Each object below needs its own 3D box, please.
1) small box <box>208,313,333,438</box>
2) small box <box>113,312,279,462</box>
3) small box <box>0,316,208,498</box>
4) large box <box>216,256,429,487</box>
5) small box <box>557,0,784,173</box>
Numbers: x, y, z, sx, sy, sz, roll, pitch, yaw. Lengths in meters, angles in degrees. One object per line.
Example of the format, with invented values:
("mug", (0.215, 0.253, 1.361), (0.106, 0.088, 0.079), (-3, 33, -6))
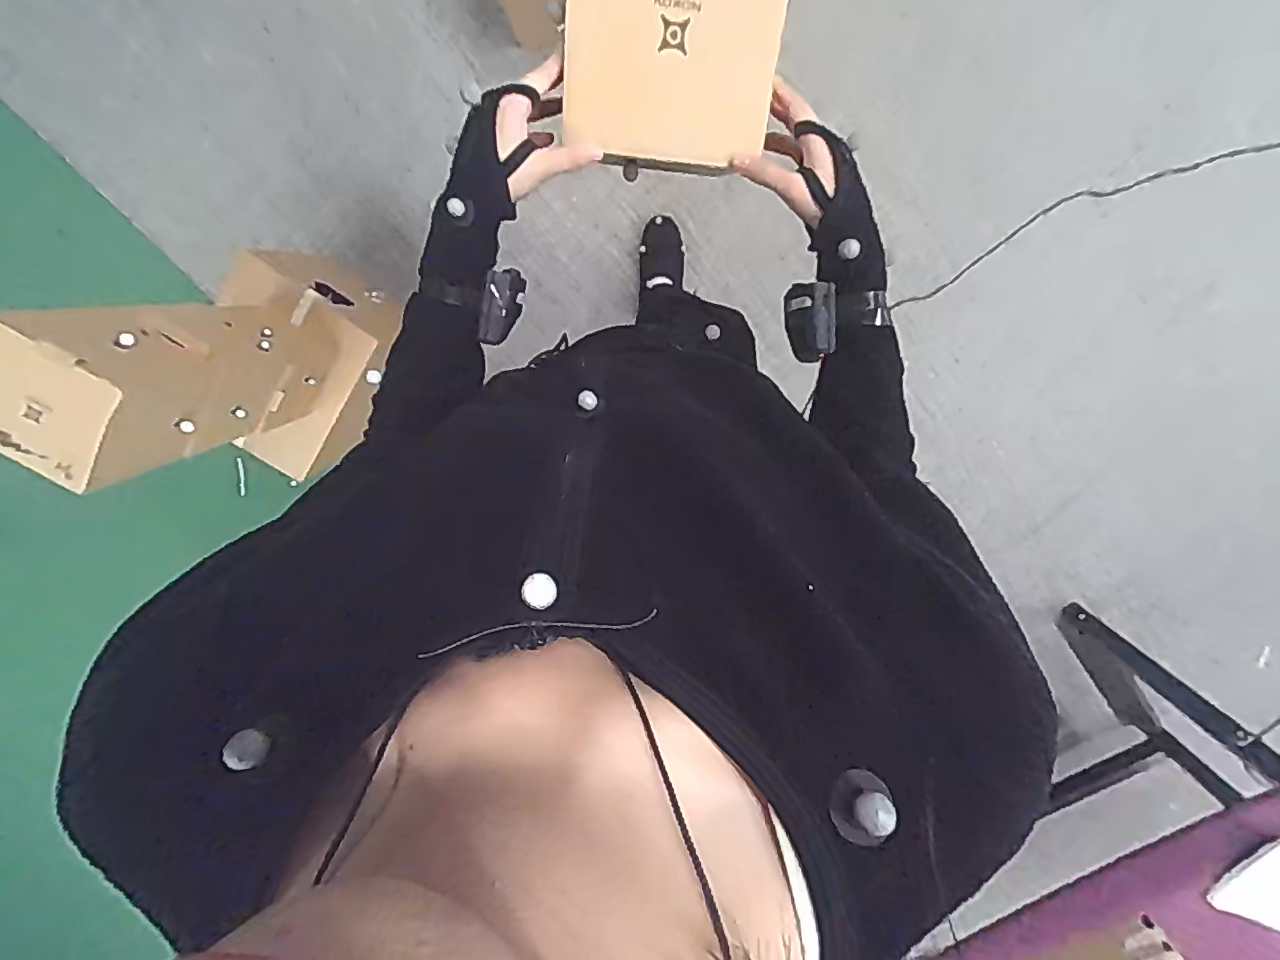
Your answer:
("small box", (-0.748, -0.213, 1.059), (0.179, 0.176, 0.168), (35, 105, -11))
("small box", (-0.750, -0.165, 0.903), (0.168, 0.176, 0.179), (34, 106, -11))
("small box", (-0.755, -0.111, 0.748), (0.168, 0.176, 0.179), (35, 104, -10))
("large box", (-0.781, -0.268, 1.299), (0.320, 0.320, 0.408), (35, 107, -9))
("small box", (0.020, -0.377, 0.471), (0.168, 0.176, 0.179), (3, 116, -5))
